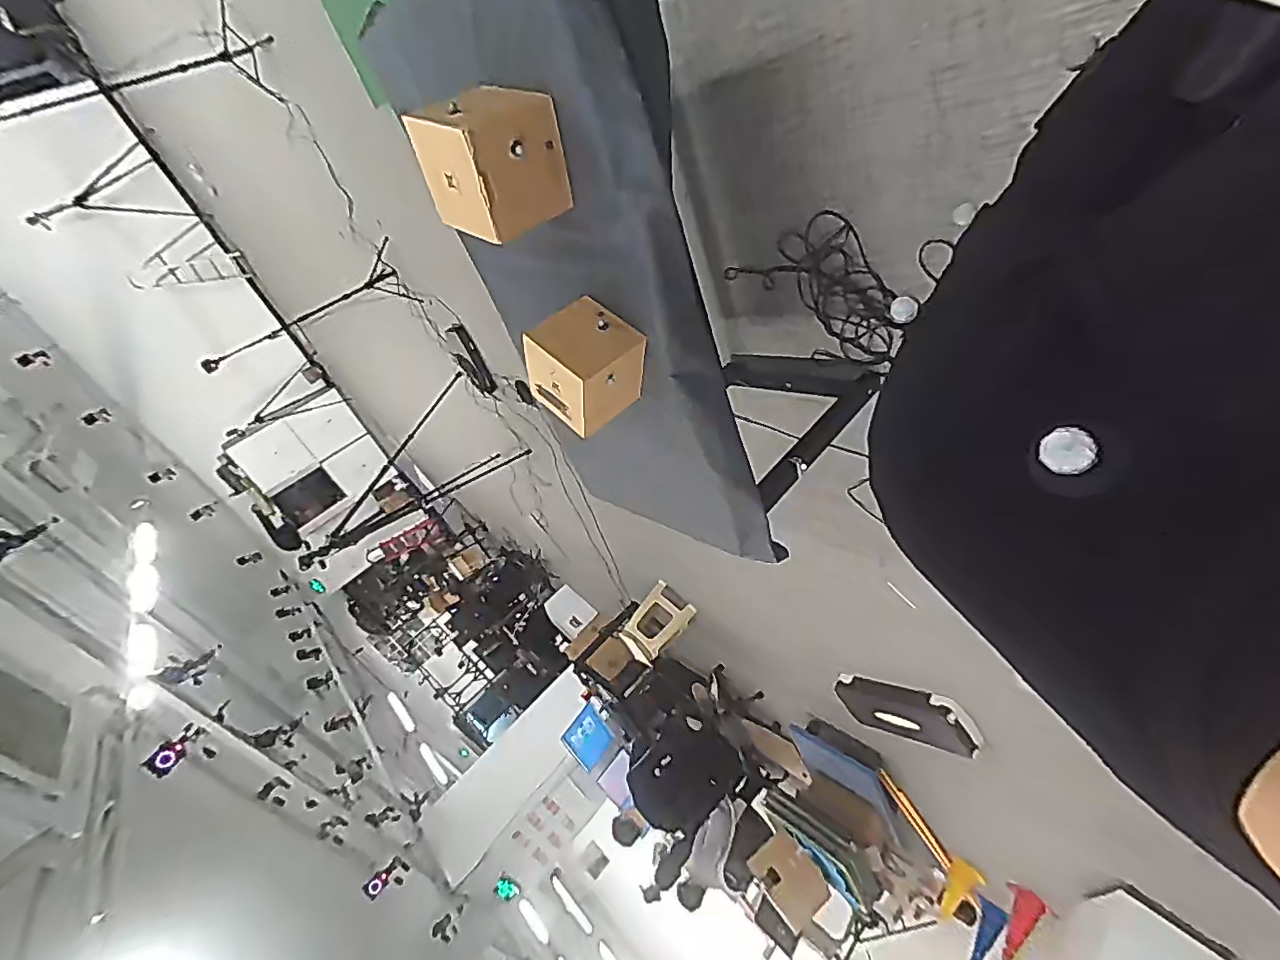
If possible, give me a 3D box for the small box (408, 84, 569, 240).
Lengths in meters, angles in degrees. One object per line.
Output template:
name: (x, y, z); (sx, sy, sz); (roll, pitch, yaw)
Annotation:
small box: (-0.233, -0.523, 0.883); (0.179, 0.176, 0.168); (34, 150, 32)
